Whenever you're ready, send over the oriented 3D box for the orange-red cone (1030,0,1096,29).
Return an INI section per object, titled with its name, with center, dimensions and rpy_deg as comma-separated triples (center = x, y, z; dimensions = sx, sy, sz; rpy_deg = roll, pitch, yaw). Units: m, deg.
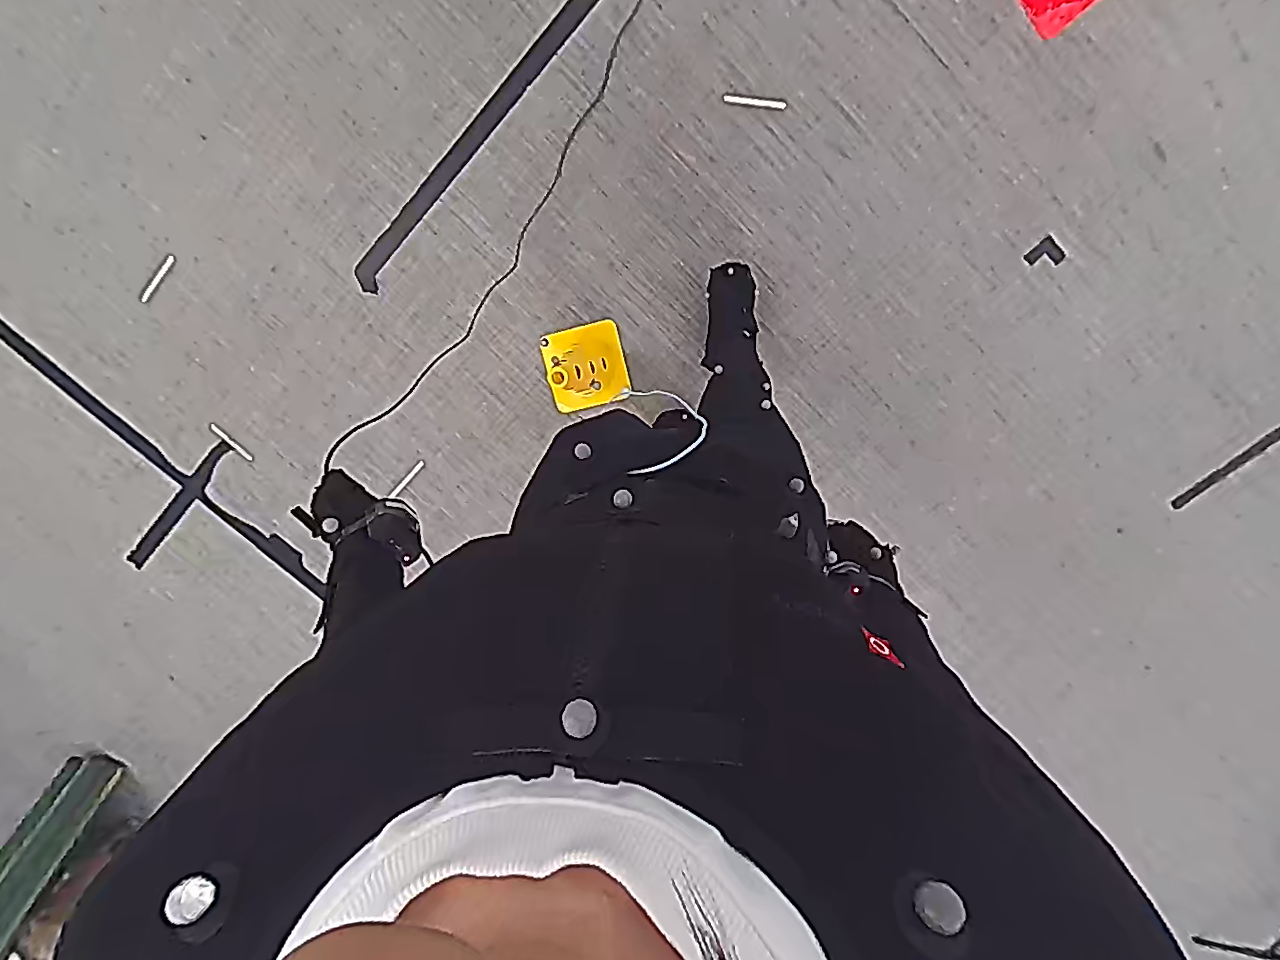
[orange-red cone]
center = 0.863, -1.019, 0.934
dimensions = 0.199, 0.360, 0.198
rpy_deg = -36, 99, 13
